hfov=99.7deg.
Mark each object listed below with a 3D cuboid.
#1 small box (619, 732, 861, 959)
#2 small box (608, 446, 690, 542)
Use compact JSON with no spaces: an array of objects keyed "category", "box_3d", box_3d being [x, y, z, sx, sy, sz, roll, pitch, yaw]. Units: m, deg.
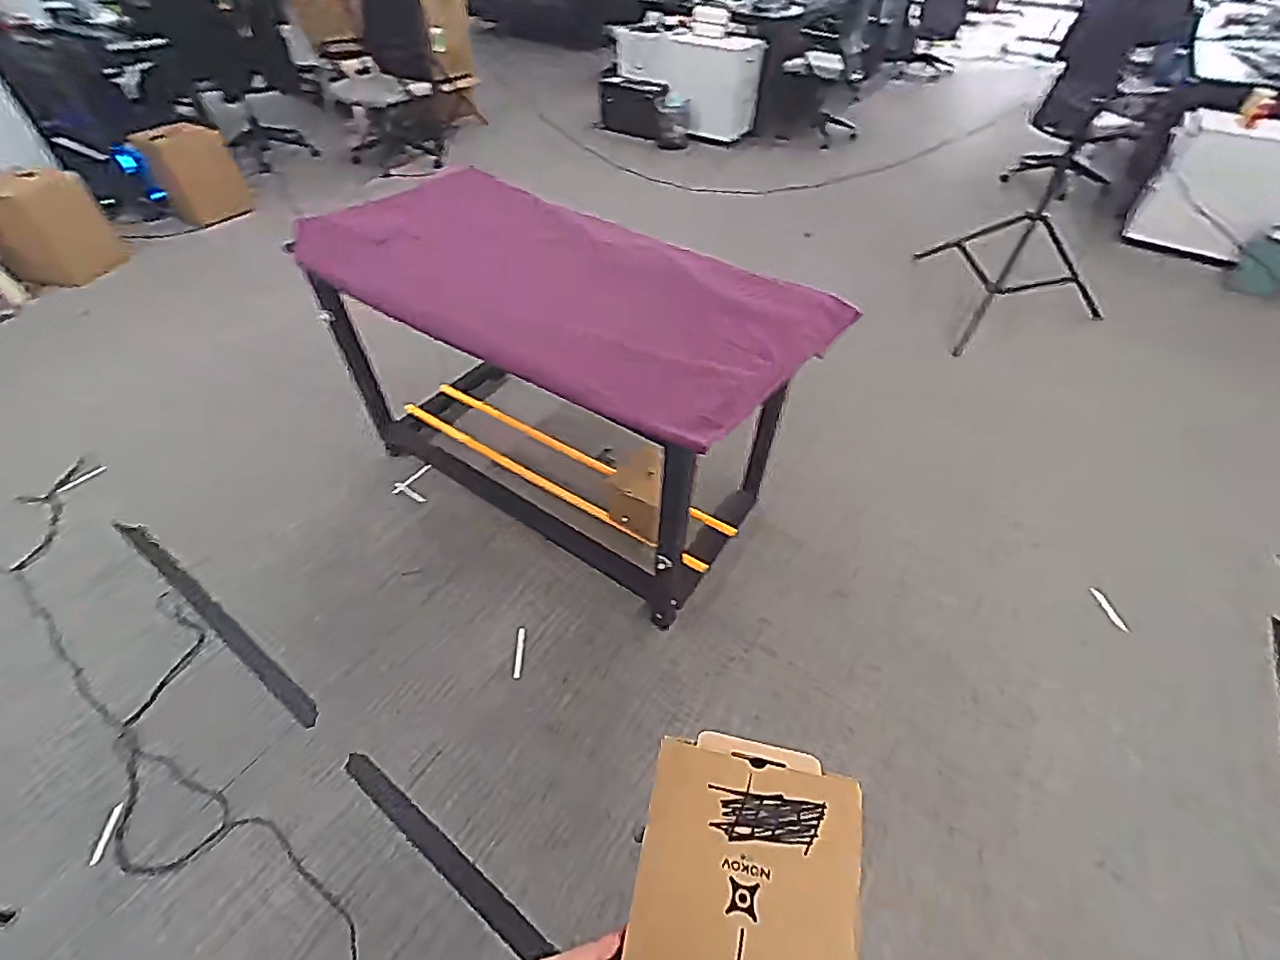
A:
[{"category":"small box","box_3d":[0.085,0.339,0.466,0.168,0.176,0.179,6,58,12]},{"category":"small box","box_3d":[0.025,0.040,1.540,0.168,0.176,0.179,27,54,22]}]
